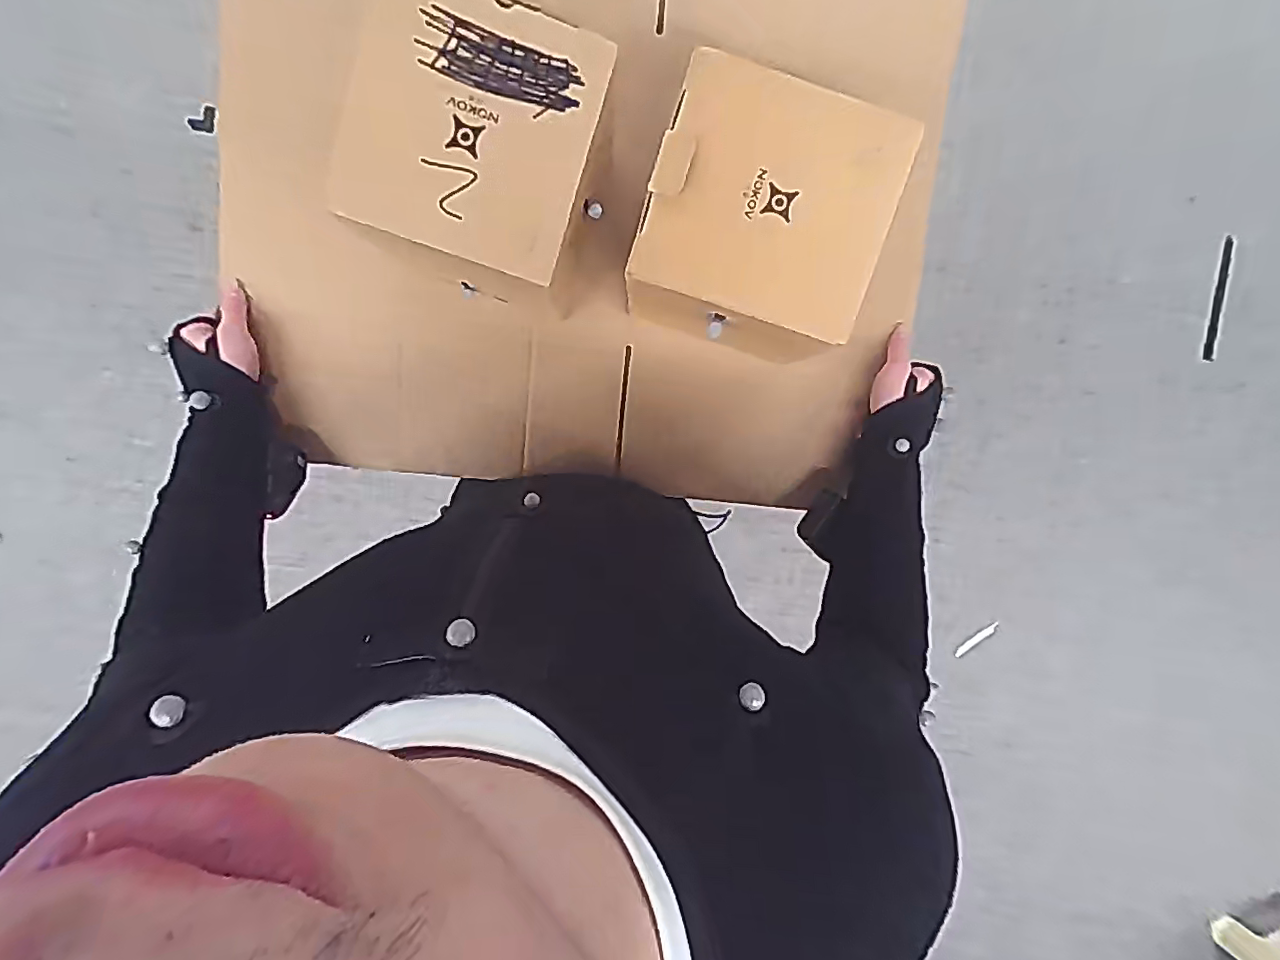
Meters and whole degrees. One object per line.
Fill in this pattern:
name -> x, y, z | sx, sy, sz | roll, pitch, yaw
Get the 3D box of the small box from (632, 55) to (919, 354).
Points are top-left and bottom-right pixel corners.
small box -> 0.101, -0.219, 0.485 | 0.179, 0.176, 0.168 | 18, 97, -1
